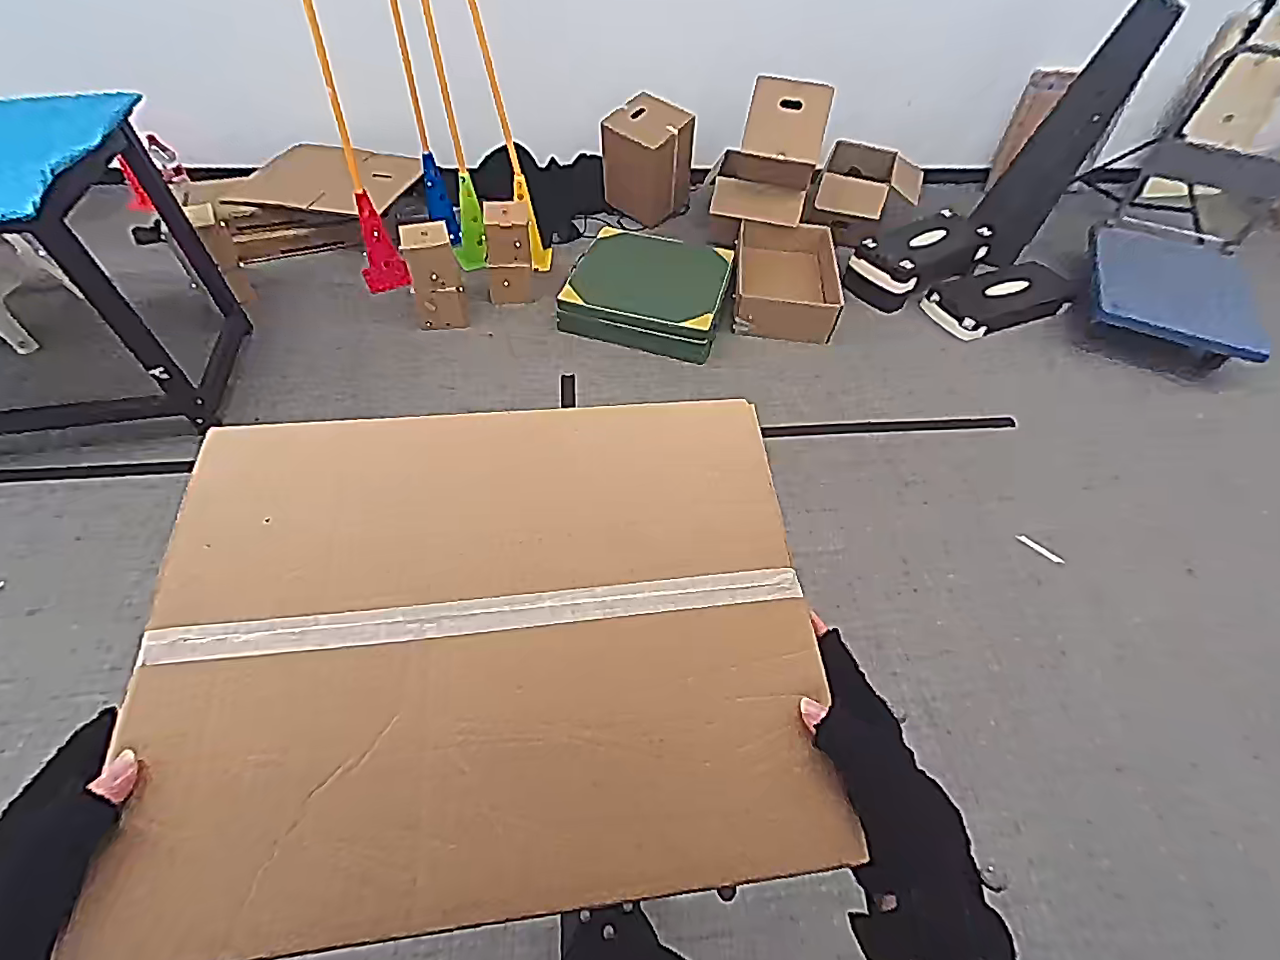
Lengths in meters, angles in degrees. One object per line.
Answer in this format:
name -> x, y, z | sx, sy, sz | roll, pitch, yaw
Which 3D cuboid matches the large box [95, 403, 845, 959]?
large box -> -0.102, 0.156, 0.487 | 0.408, 0.320, 0.320 | -5, 62, -6
